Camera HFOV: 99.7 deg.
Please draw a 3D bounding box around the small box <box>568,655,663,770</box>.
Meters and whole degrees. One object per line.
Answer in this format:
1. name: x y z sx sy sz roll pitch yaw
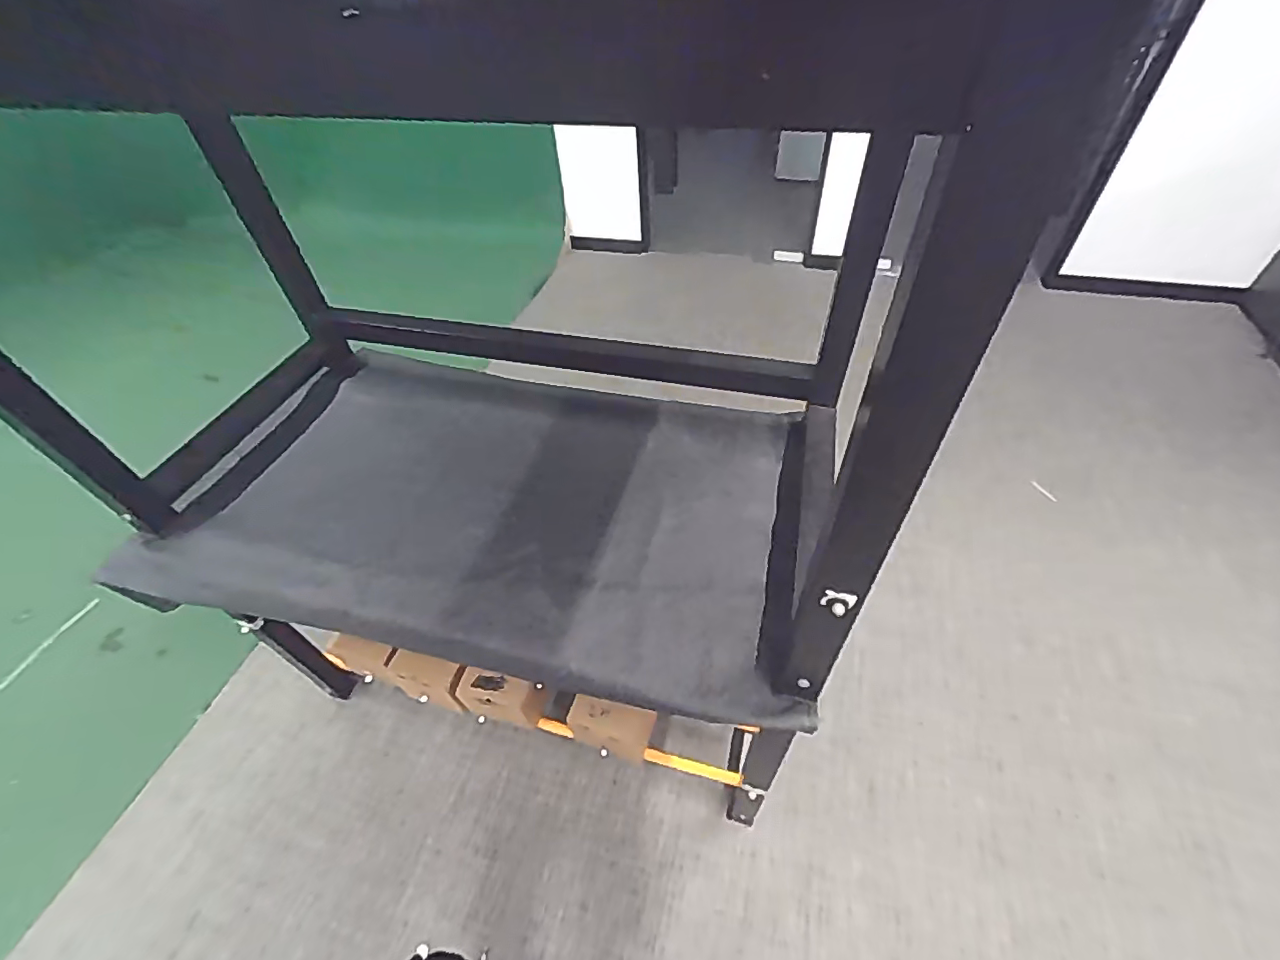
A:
1. small box: -0.049 0.550 1.273 0.168 0.176 0.179 13 51 17
